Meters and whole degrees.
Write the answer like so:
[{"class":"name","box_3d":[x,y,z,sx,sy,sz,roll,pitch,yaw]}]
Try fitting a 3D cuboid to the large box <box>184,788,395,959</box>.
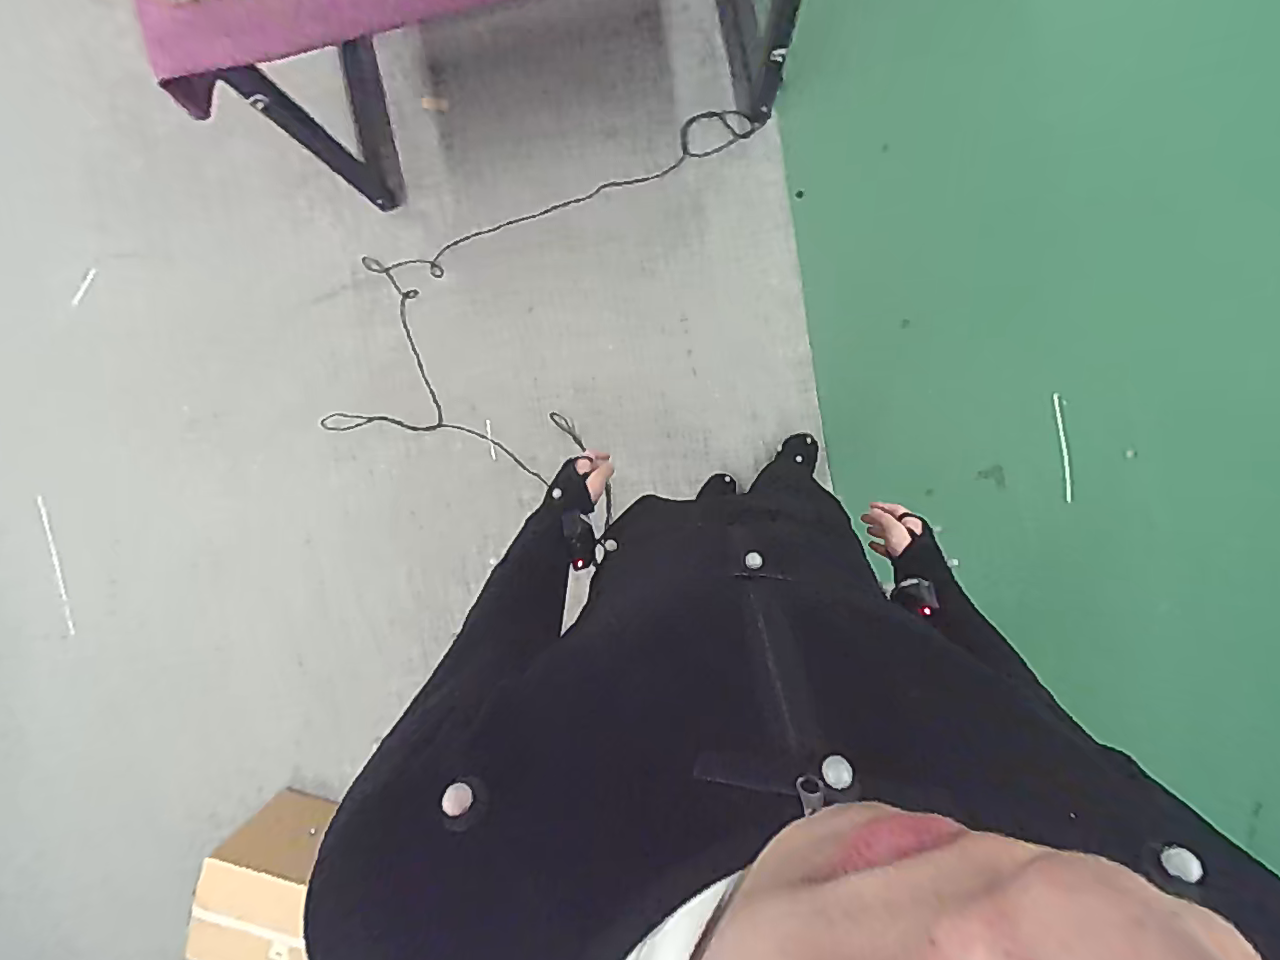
[{"class":"large box","box_3d":[-1.026,1.199,1.621,0.408,0.320,0.320,14,95,2]}]
